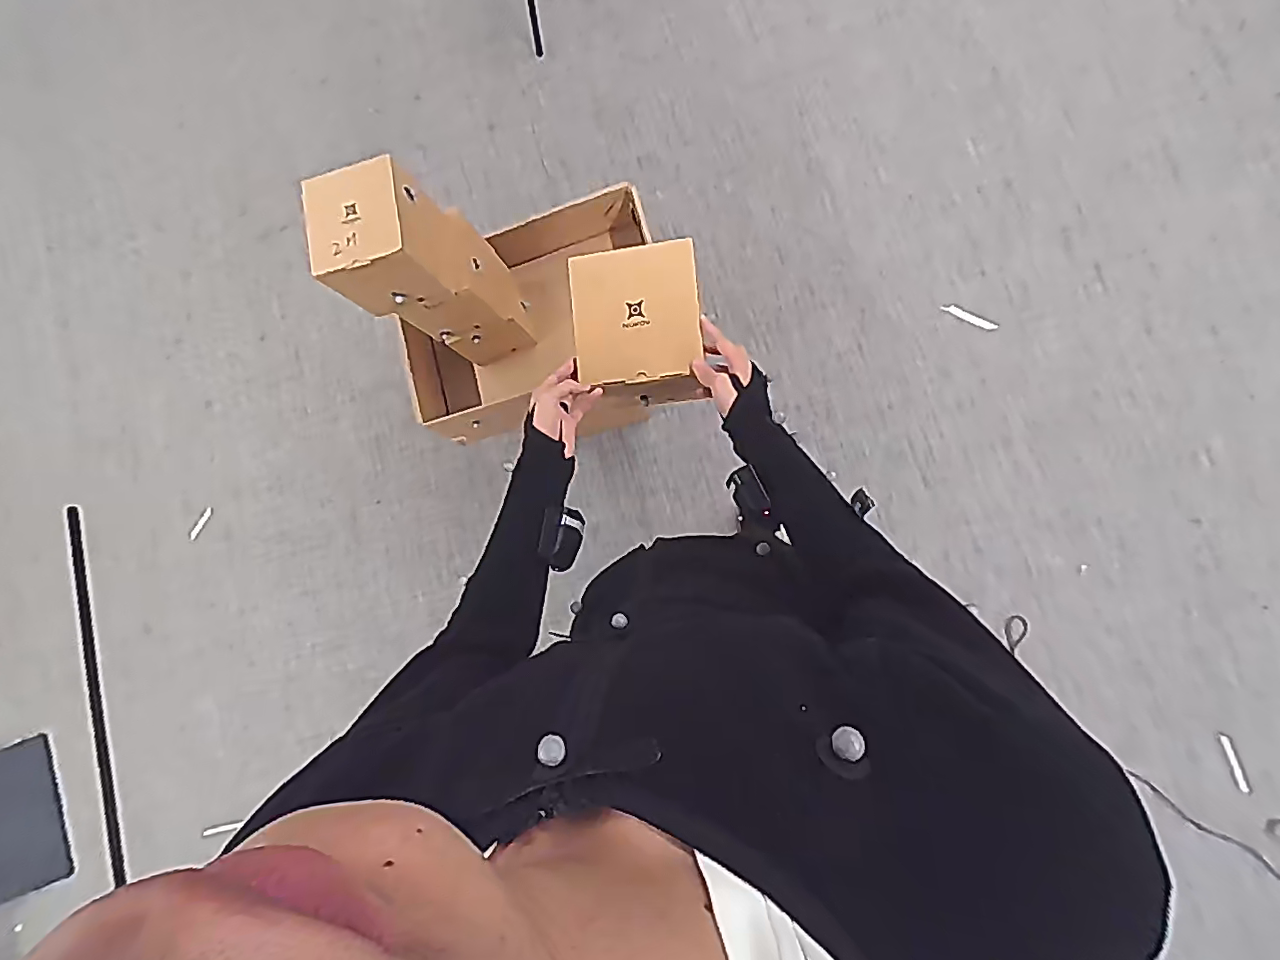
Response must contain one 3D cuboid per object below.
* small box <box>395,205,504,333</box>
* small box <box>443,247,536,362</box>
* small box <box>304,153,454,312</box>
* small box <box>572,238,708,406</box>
[{"bbox_3d":[-0.396,-0.419,1.112,0.168,0.176,0.179,-13,82,8],"label":"small box"},{"bbox_3d":[-0.365,-0.404,1.273,0.168,0.176,0.179,-19,81,7],"label":"small box"},{"bbox_3d":[-0.451,-0.425,0.954,0.168,0.176,0.179,-12,84,8],"label":"small box"},{"bbox_3d":[0.007,-0.213,0.773,0.168,0.176,0.179,-6,88,8],"label":"small box"}]
